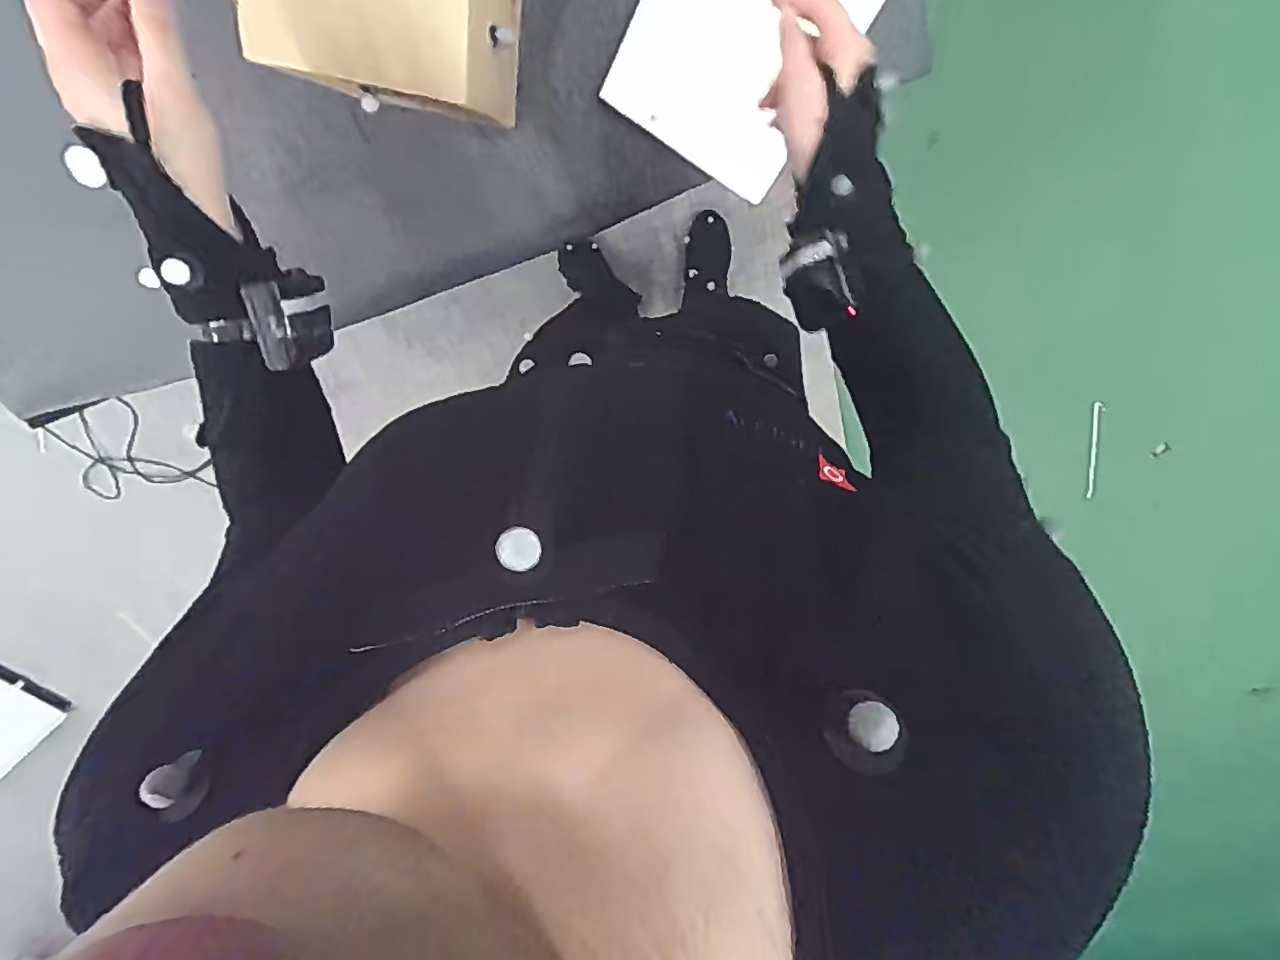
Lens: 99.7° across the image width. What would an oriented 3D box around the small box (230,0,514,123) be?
[{"bbox_3d":[-0.206,-0.414,0.451,0.179,0.176,0.168,10,118,-2],"label":"small box"}]
